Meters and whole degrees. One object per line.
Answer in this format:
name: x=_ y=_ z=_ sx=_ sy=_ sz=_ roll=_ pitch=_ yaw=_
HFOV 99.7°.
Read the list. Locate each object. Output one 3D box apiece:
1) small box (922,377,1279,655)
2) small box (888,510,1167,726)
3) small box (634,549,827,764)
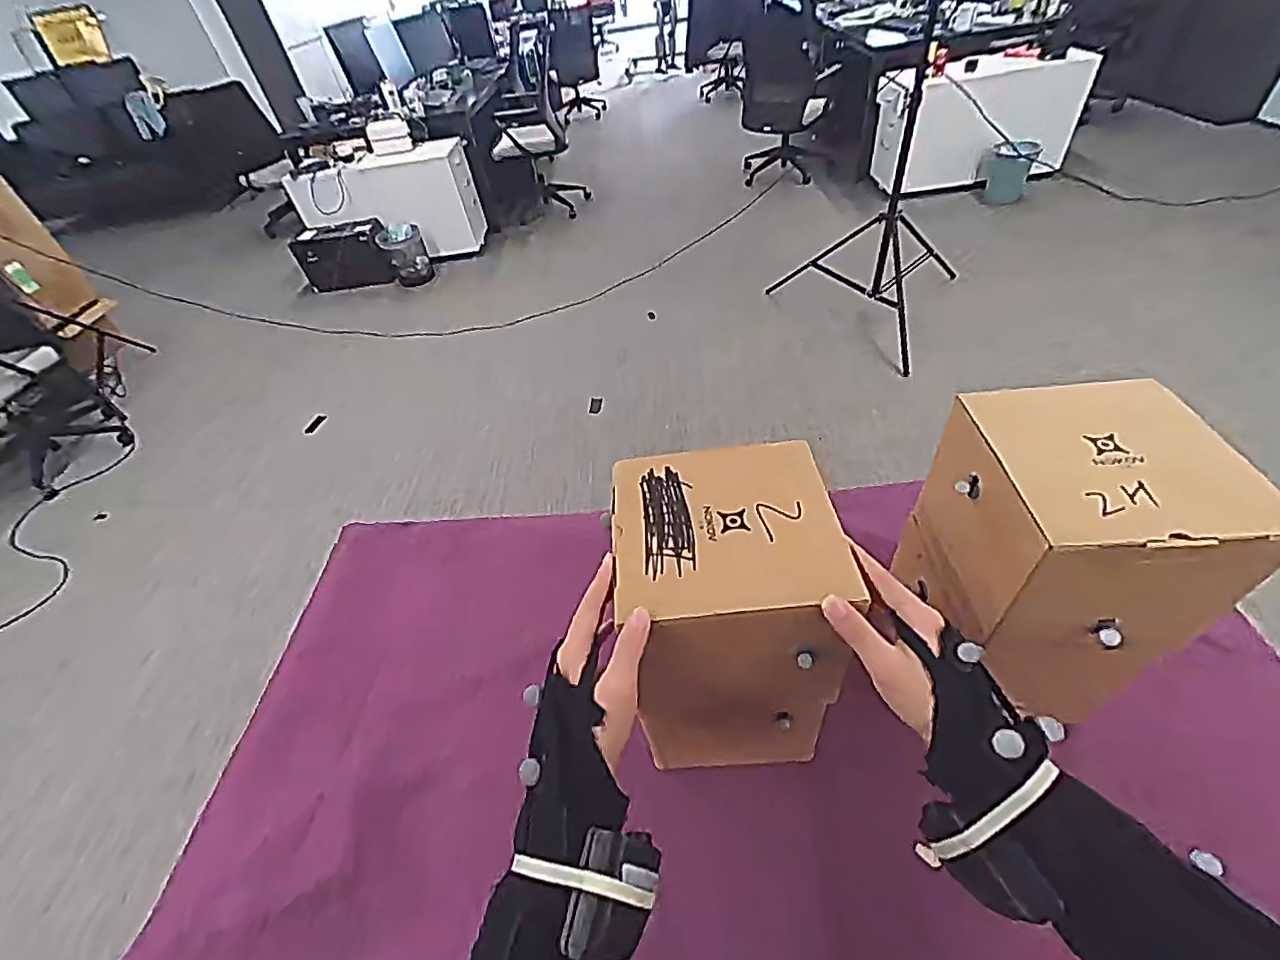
small box: x=0.372 y=0.033 z=0.474 sx=0.168 sy=0.176 sz=0.179 roll=-4 pitch=46 yaw=7
small box: x=0.390 y=0.148 z=0.592 sx=0.168 sy=0.176 sz=0.179 roll=-3 pitch=46 yaw=7
small box: x=0.091 y=0.198 z=0.597 sx=0.179 sy=0.176 sz=0.168 roll=-6 pitch=45 yaw=4
